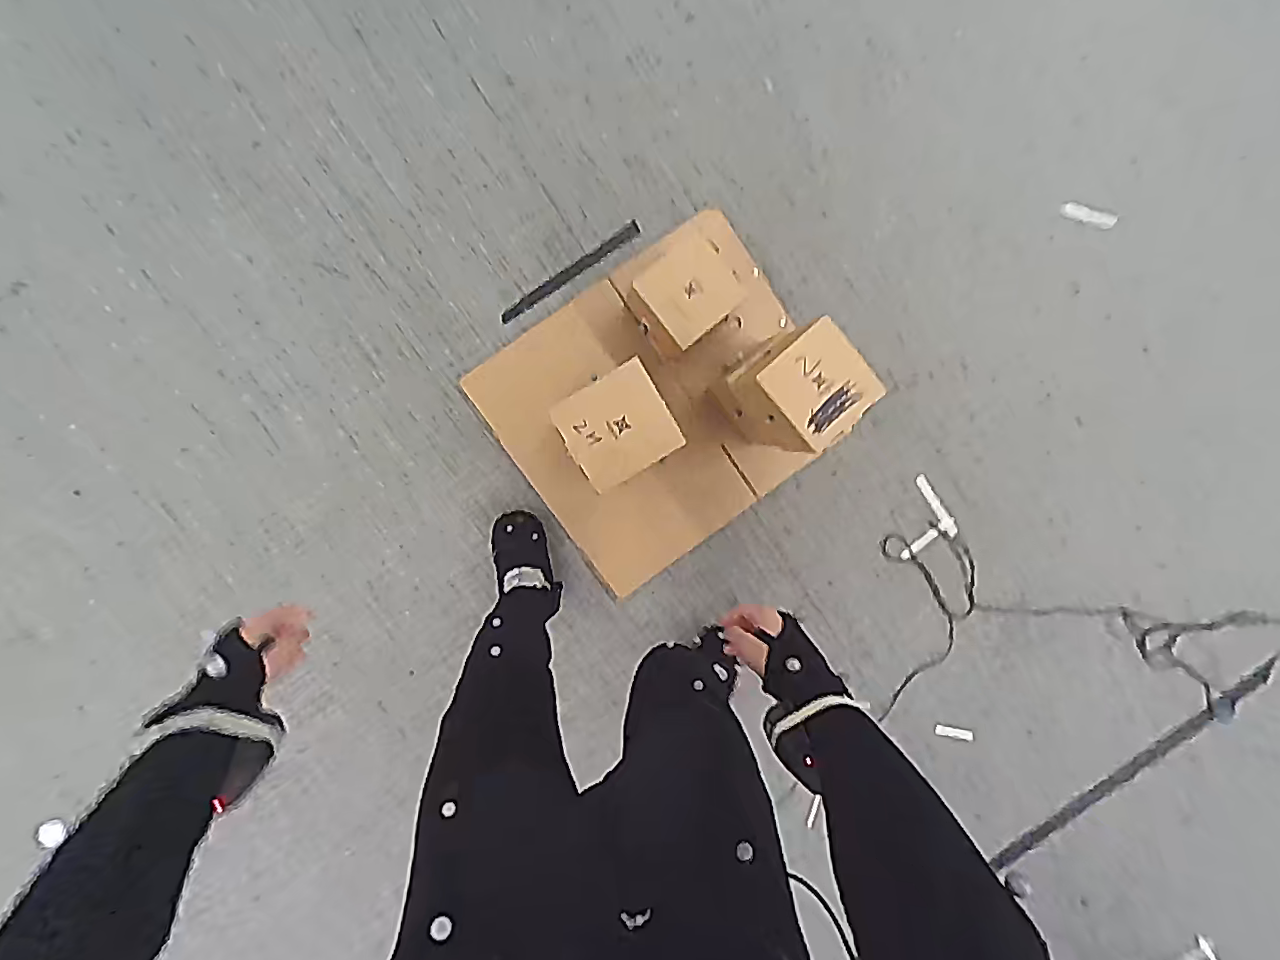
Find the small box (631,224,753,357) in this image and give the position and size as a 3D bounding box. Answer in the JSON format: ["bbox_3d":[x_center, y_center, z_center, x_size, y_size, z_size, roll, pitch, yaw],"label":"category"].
[{"bbox_3d":[0.097,-0.379,1.116,0.179,0.176,0.168,-41,96,-2],"label":"small box"}]

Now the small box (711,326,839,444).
[{"bbox_3d":[0.279,-0.197,1.151,0.168,0.176,0.179,-40,97,-2],"label":"small box"}]

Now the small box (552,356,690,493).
[{"bbox_3d":[-0.039,-0.099,0.957,0.179,0.176,0.168,-31,97,-2],"label":"small box"}]
